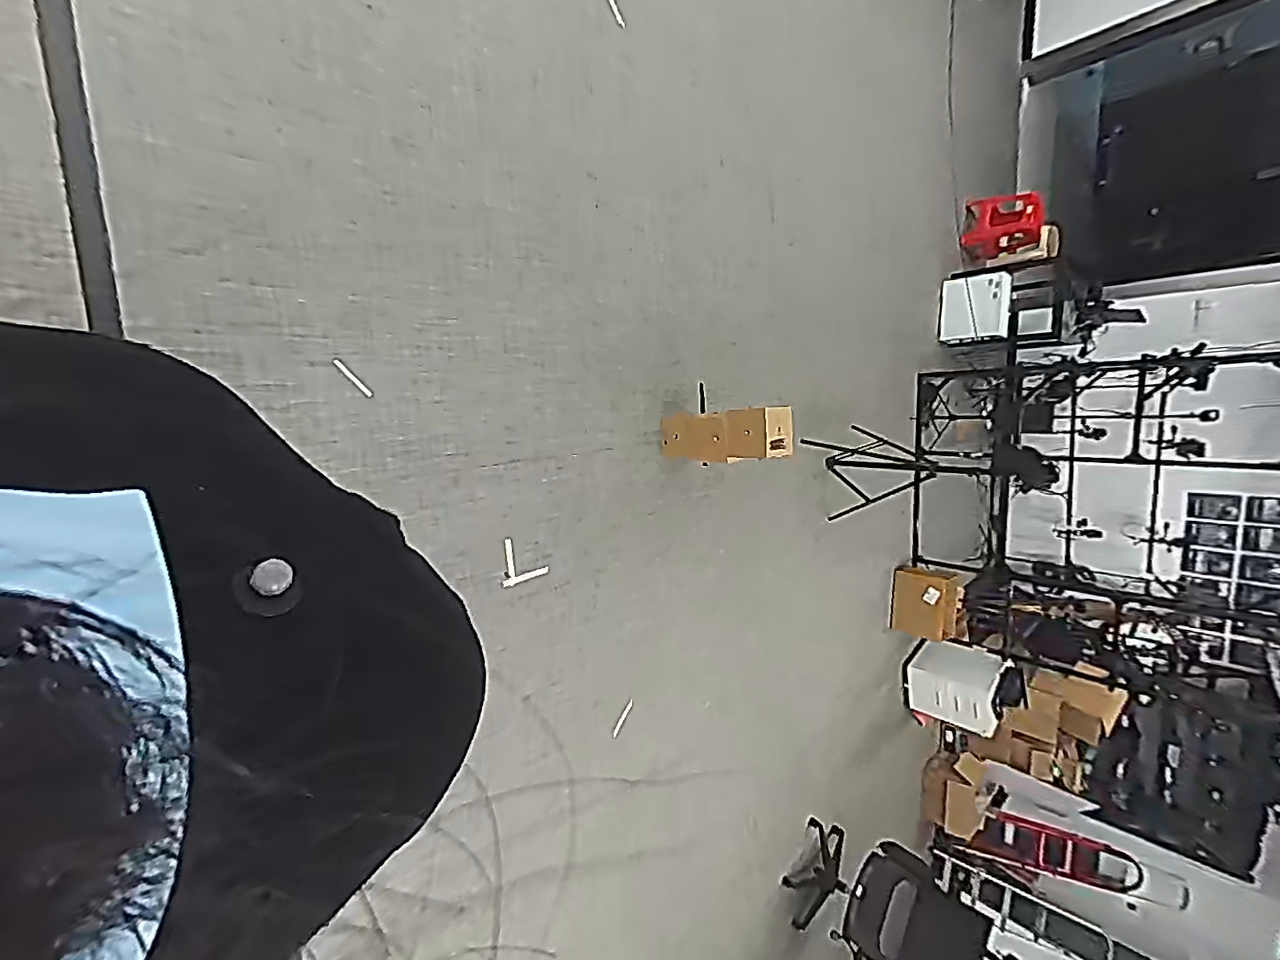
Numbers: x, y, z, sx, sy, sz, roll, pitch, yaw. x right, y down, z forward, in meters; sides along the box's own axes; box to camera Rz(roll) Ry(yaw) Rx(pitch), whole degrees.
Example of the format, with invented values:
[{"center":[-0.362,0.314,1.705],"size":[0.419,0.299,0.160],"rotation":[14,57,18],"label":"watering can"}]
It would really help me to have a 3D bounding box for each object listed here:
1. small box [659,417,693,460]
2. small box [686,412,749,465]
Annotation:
[{"center":[0.190,-0.169,2.182],"size":[0.179,0.176,0.168],"rotation":[-7,100,-44],"label":"small box"},{"center":[0.294,-0.161,2.058],"size":[0.168,0.176,0.179],"rotation":[-18,106,-41],"label":"small box"}]
